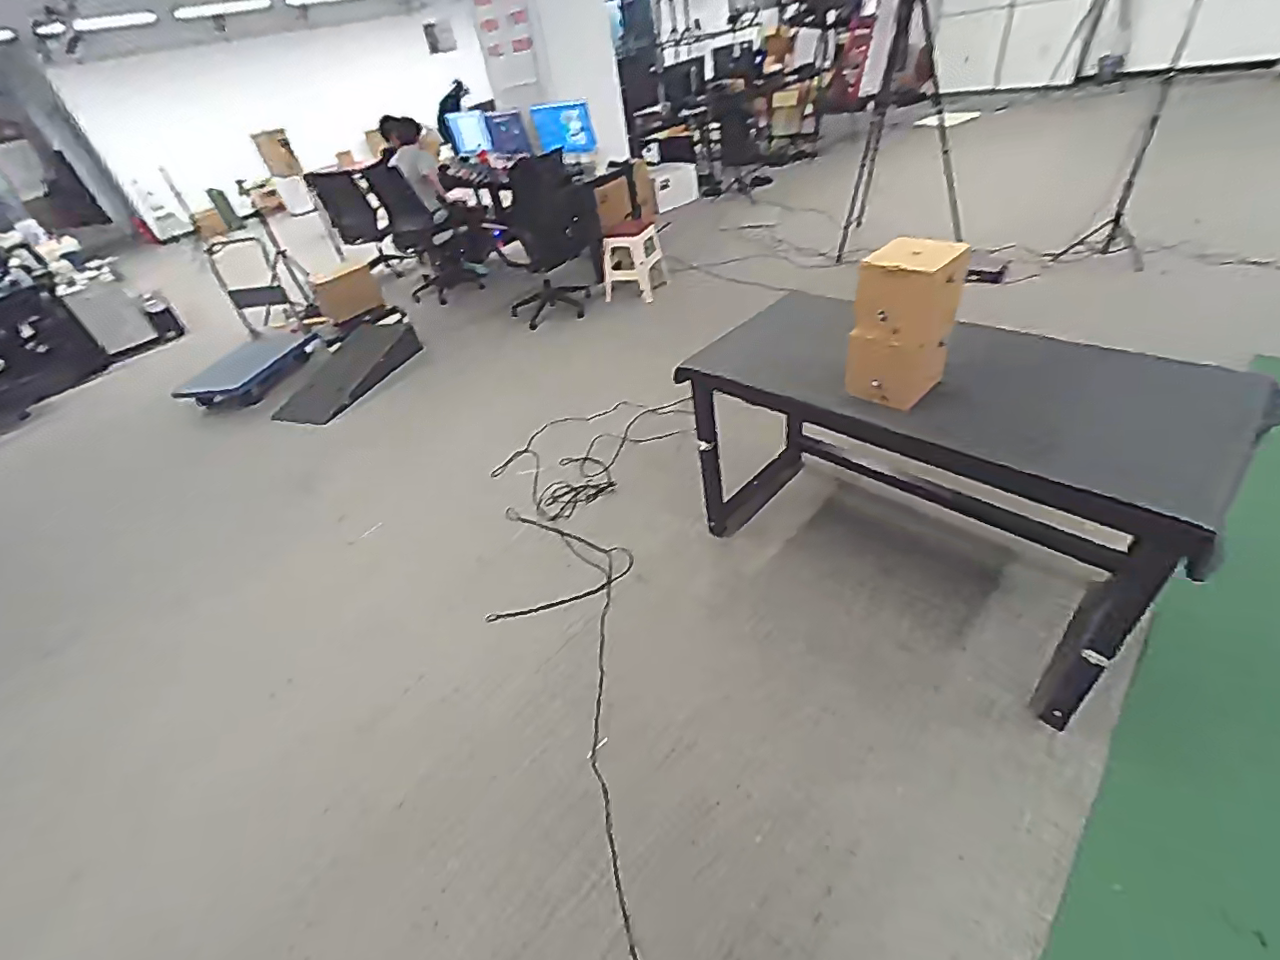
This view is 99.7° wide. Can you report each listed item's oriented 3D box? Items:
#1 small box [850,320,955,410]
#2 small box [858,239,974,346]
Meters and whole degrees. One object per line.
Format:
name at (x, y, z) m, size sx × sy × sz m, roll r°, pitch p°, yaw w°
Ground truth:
small box at (0.632, -0.297, 1.320) m, size 0.179 × 0.176 × 0.168 m, roll -36°, pitch 44°, yaw -28°
small box at (0.614, -0.425, 1.222) m, size 0.179 × 0.176 × 0.168 m, roll -36°, pitch 45°, yaw -27°
